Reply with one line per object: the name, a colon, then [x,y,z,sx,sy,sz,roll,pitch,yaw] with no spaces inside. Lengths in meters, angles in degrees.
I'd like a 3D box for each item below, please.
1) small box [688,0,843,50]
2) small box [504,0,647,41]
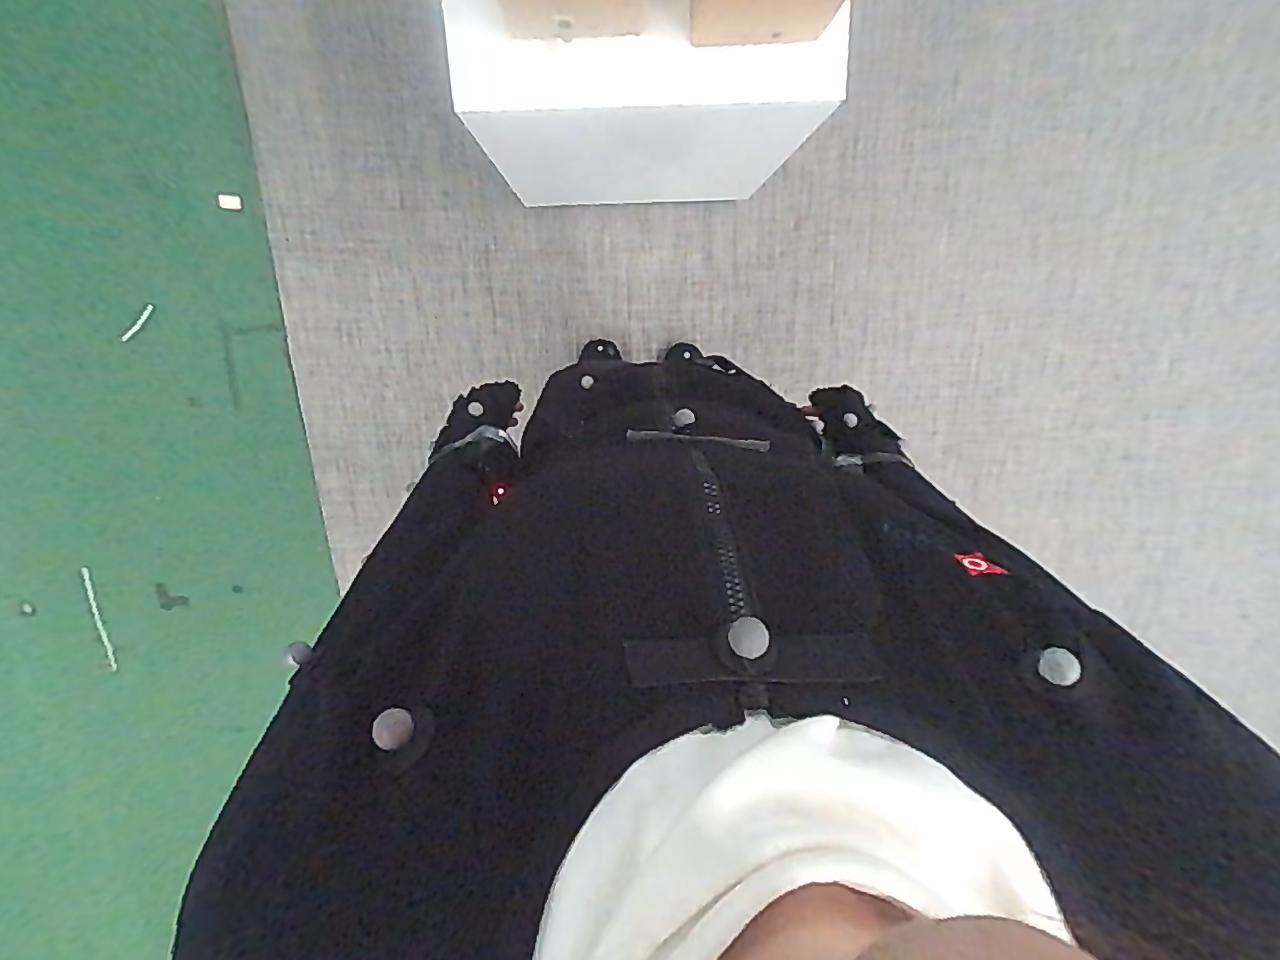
small box: [0.142,-0.611,0.585,0.168,0.176,0.179,-3,104,-1]
small box: [-0.078,-0.608,0.565,0.168,0.176,0.179,-5,106,0]
